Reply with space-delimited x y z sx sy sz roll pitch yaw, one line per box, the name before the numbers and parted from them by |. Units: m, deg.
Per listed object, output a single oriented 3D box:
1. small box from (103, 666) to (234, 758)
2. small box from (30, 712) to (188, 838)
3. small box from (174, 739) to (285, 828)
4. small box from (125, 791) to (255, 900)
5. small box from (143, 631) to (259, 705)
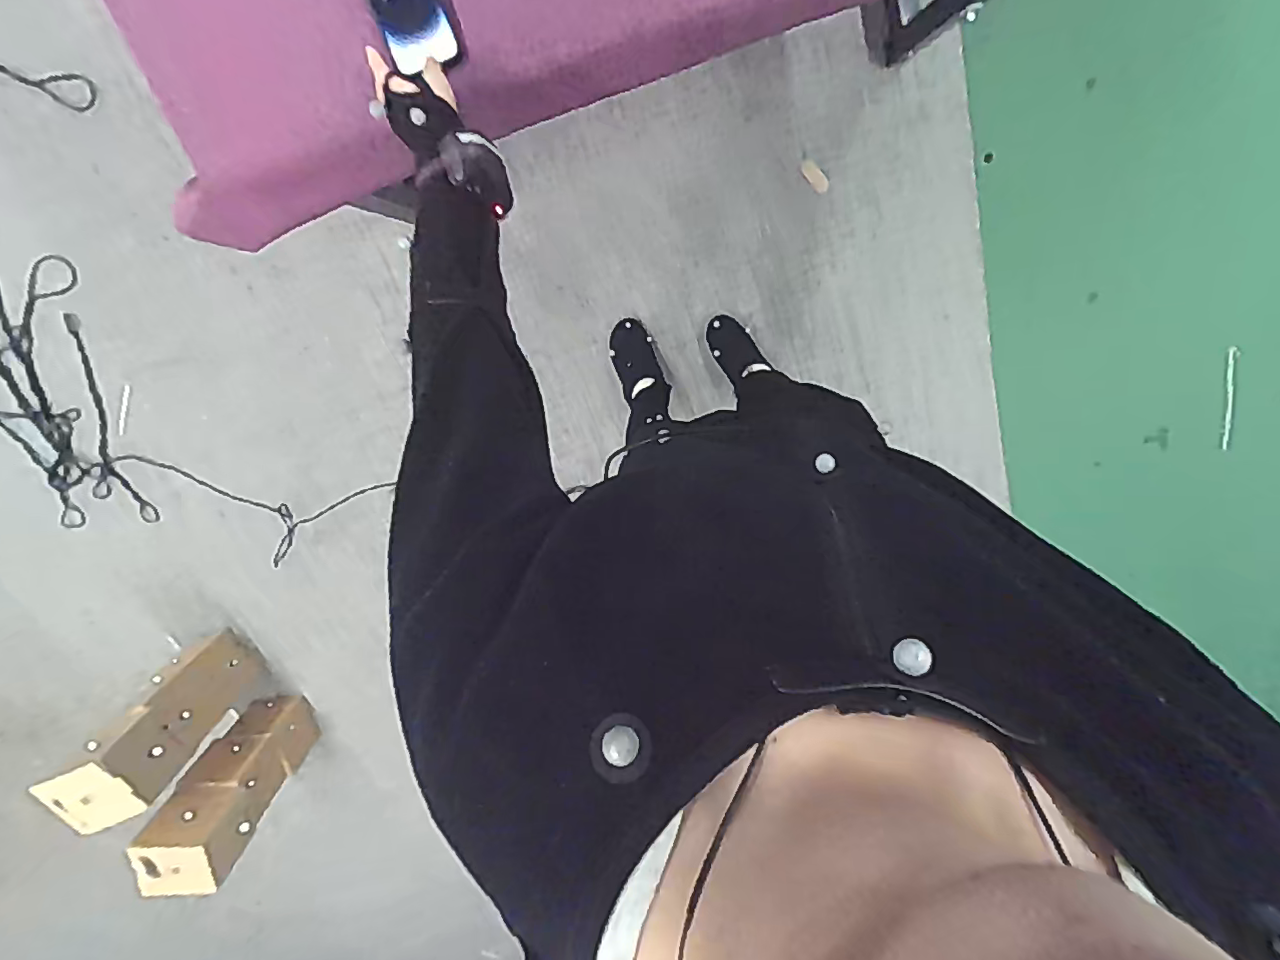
small box | -1.233 0.630 1.421 0.168 0.176 0.179 -30 109 6
small box | -1.219 0.680 1.266 0.179 0.176 0.168 -23 110 3
small box | -1.133 0.855 1.510 0.168 0.176 0.179 -2 109 -2
small box | -1.116 0.909 1.355 0.179 0.176 0.168 2 109 -4
small box | -1.257 0.573 1.572 0.179 0.176 0.168 -26 109 6
